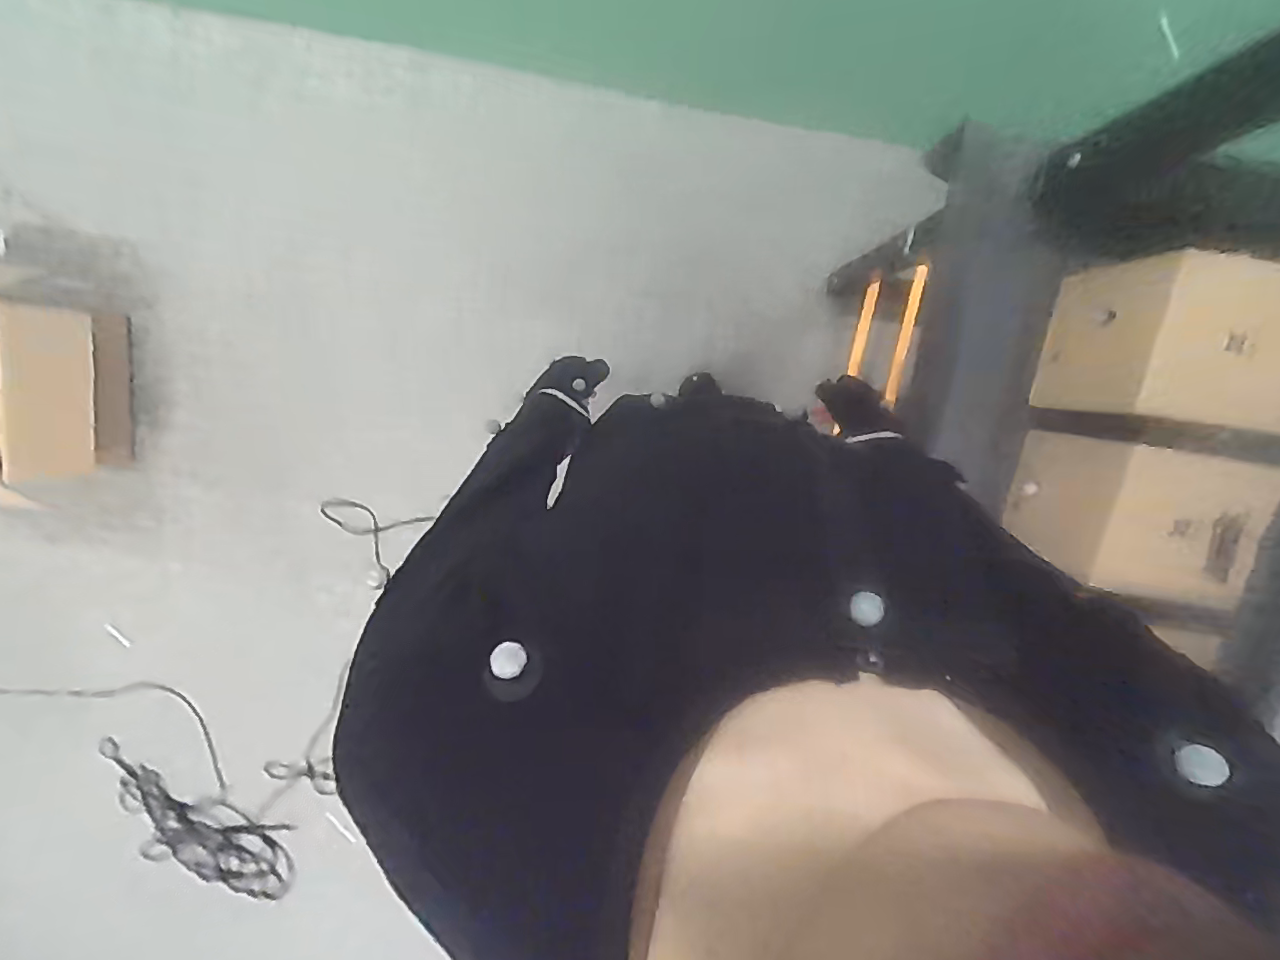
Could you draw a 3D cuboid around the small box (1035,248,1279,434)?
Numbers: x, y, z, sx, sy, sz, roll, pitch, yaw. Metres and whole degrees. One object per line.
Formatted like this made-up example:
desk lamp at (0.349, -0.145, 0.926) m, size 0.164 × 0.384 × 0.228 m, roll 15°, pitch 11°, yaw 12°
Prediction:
small box at (0.613, -0.152, 0.627) m, size 0.179 × 0.176 × 0.168 m, roll 8°, pitch 101°, yaw -2°
